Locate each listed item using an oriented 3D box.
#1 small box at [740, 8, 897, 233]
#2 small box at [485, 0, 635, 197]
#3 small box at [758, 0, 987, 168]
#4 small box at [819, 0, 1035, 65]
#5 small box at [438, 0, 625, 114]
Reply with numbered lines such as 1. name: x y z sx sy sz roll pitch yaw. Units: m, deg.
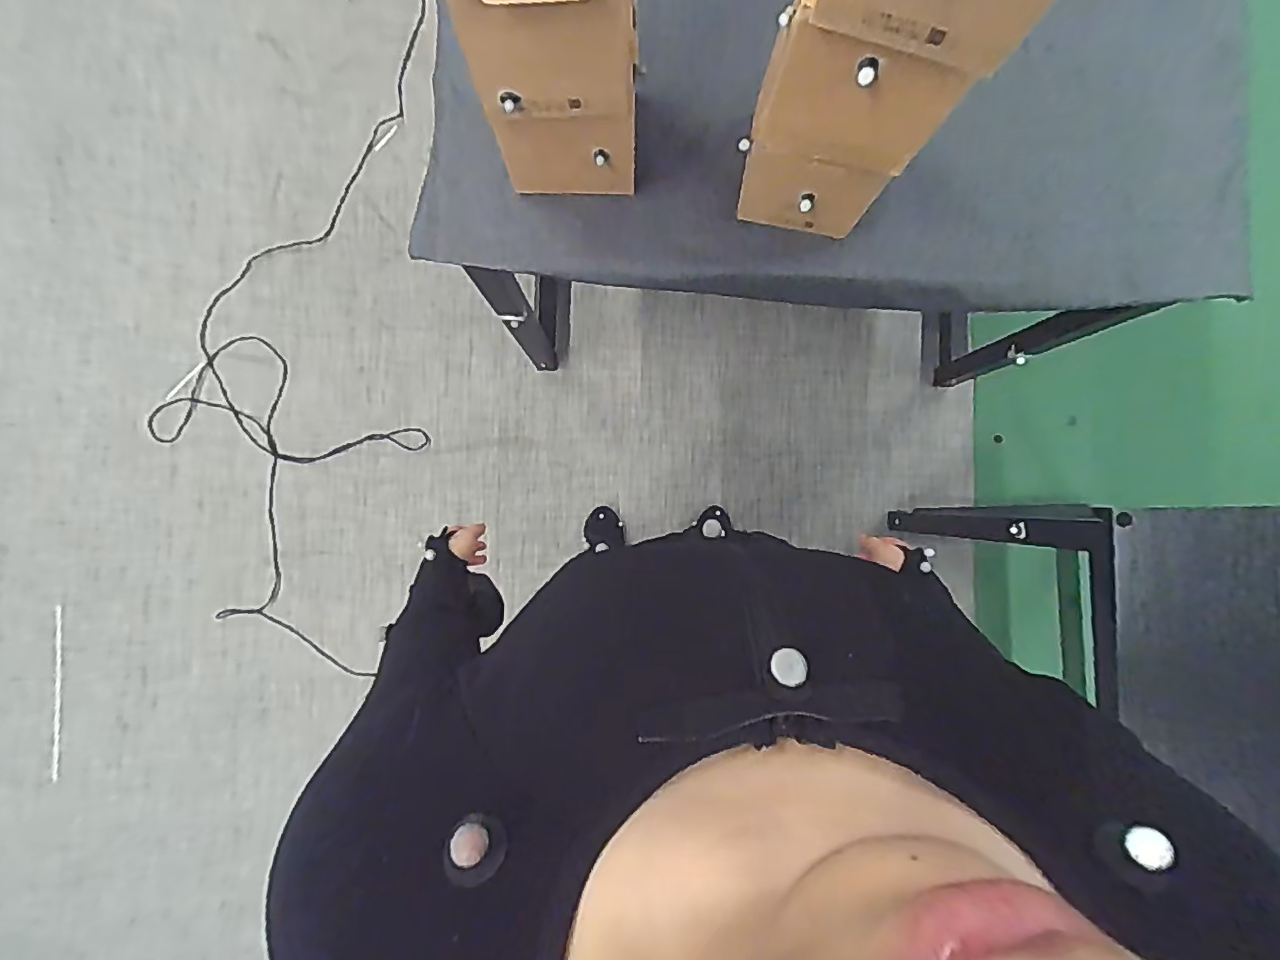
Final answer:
1. small box: 0.235 -0.456 0.714 0.168 0.176 0.179 10 87 1
2. small box: -0.095 -0.500 0.717 0.179 0.176 0.168 0 85 1
3. small box: 0.238 -0.456 0.550 0.179 0.176 0.168 15 87 2
4. small box: 0.240 -0.453 0.385 0.168 0.176 0.179 17 87 1
5. small box: -0.104 -0.508 0.552 0.168 0.176 0.179 -4 85 -1
